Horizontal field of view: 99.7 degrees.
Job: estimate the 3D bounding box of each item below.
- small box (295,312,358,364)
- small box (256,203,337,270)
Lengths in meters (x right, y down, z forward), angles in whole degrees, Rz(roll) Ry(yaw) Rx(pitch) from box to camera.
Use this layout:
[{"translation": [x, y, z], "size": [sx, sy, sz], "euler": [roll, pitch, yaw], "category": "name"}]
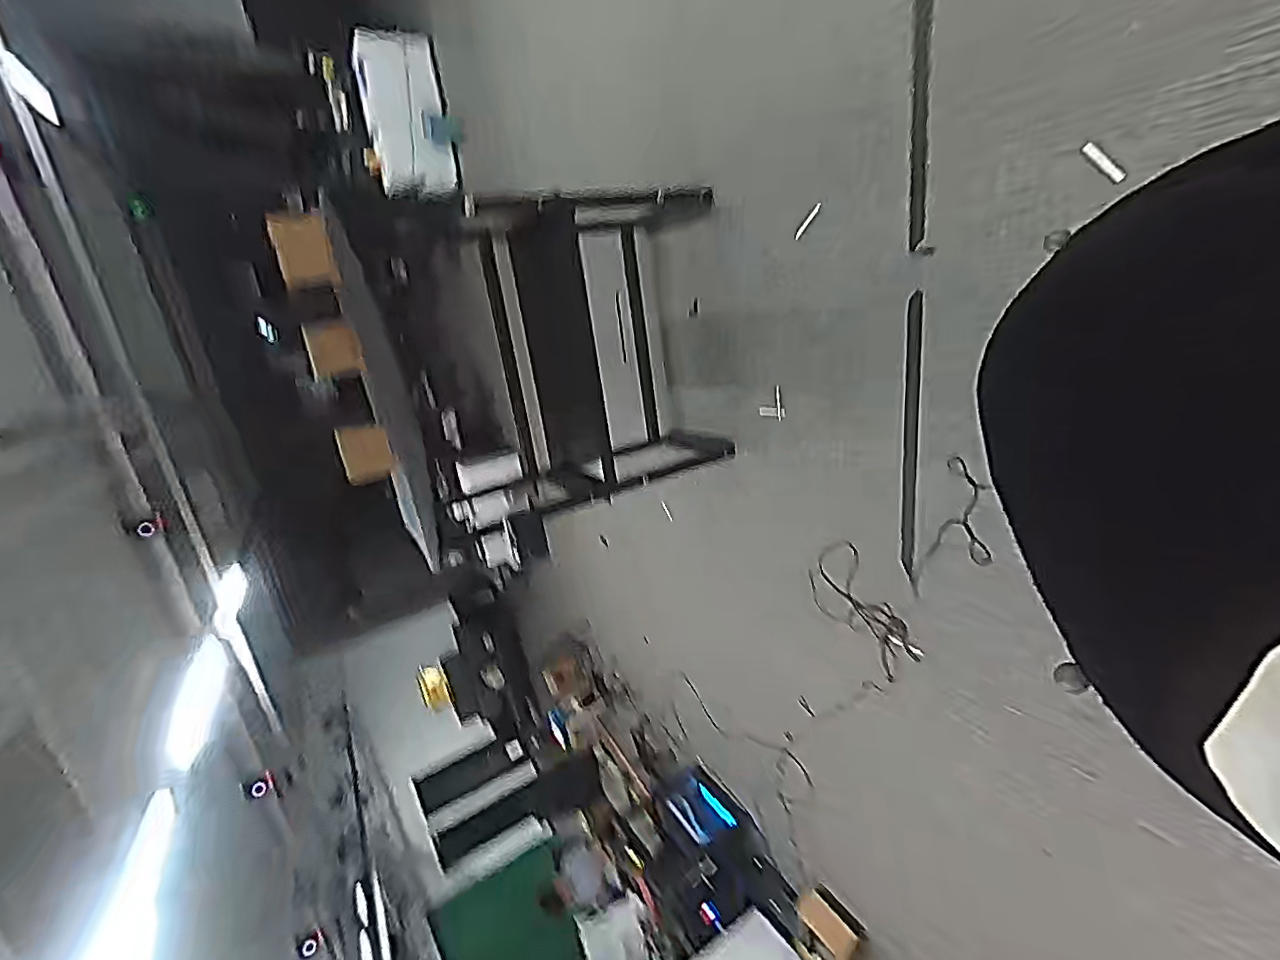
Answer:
[{"translation": [-1.154, -0.523, 1.997], "size": [0.179, 0.176, 0.168], "euler": [20, 123, 57], "category": "small box"}, {"translation": [-1.051, -0.749, 1.669], "size": [0.179, 0.176, 0.168], "euler": [29, 131, 57], "category": "small box"}]
